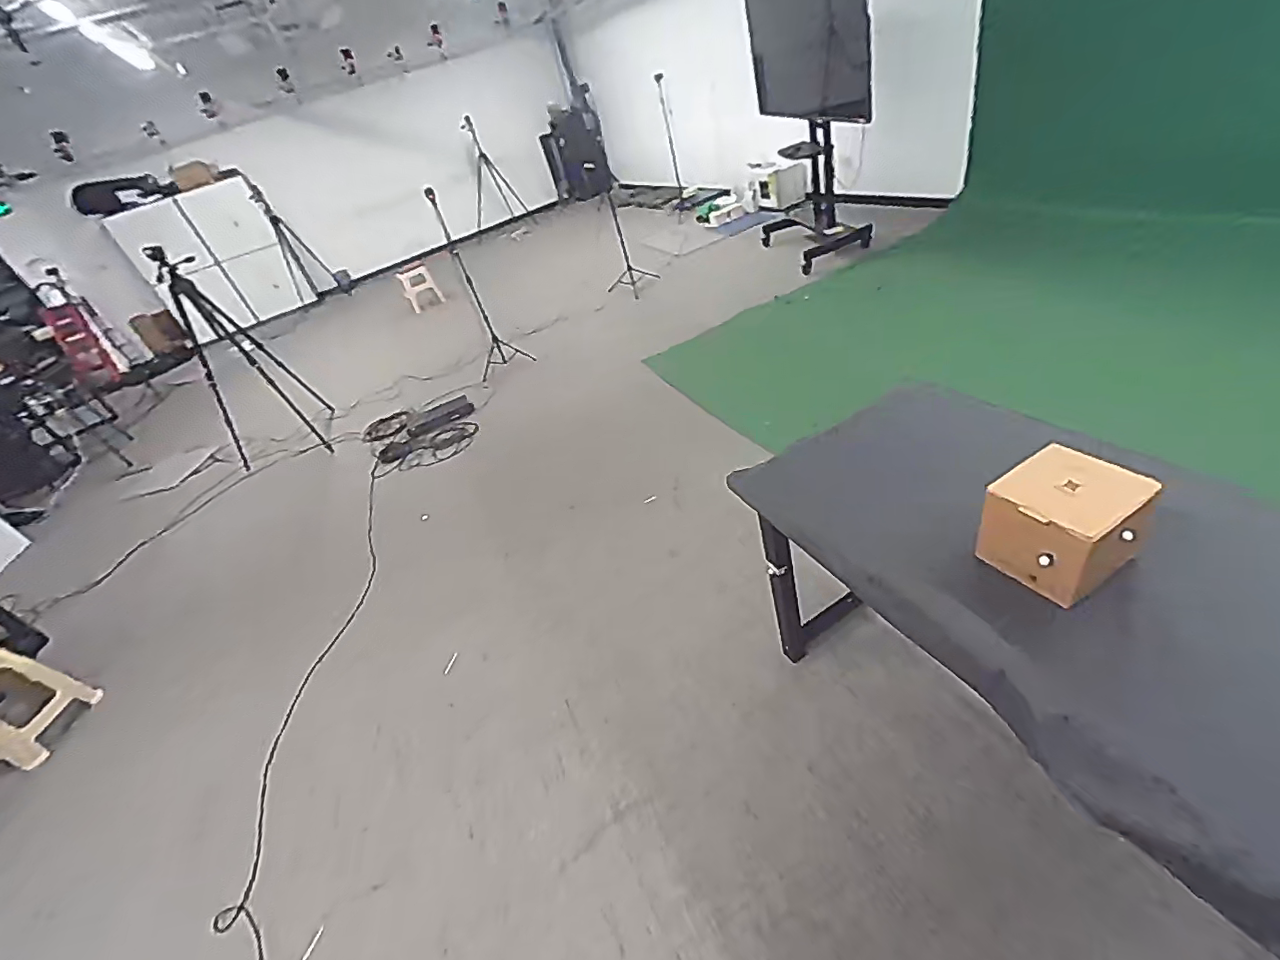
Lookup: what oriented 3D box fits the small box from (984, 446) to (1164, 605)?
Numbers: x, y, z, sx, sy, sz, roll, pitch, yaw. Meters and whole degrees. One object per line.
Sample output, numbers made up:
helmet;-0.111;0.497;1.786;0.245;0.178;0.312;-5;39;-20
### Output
small box;0.720;0.078;0.920;0.179;0.176;0.168;-29;39;-15
